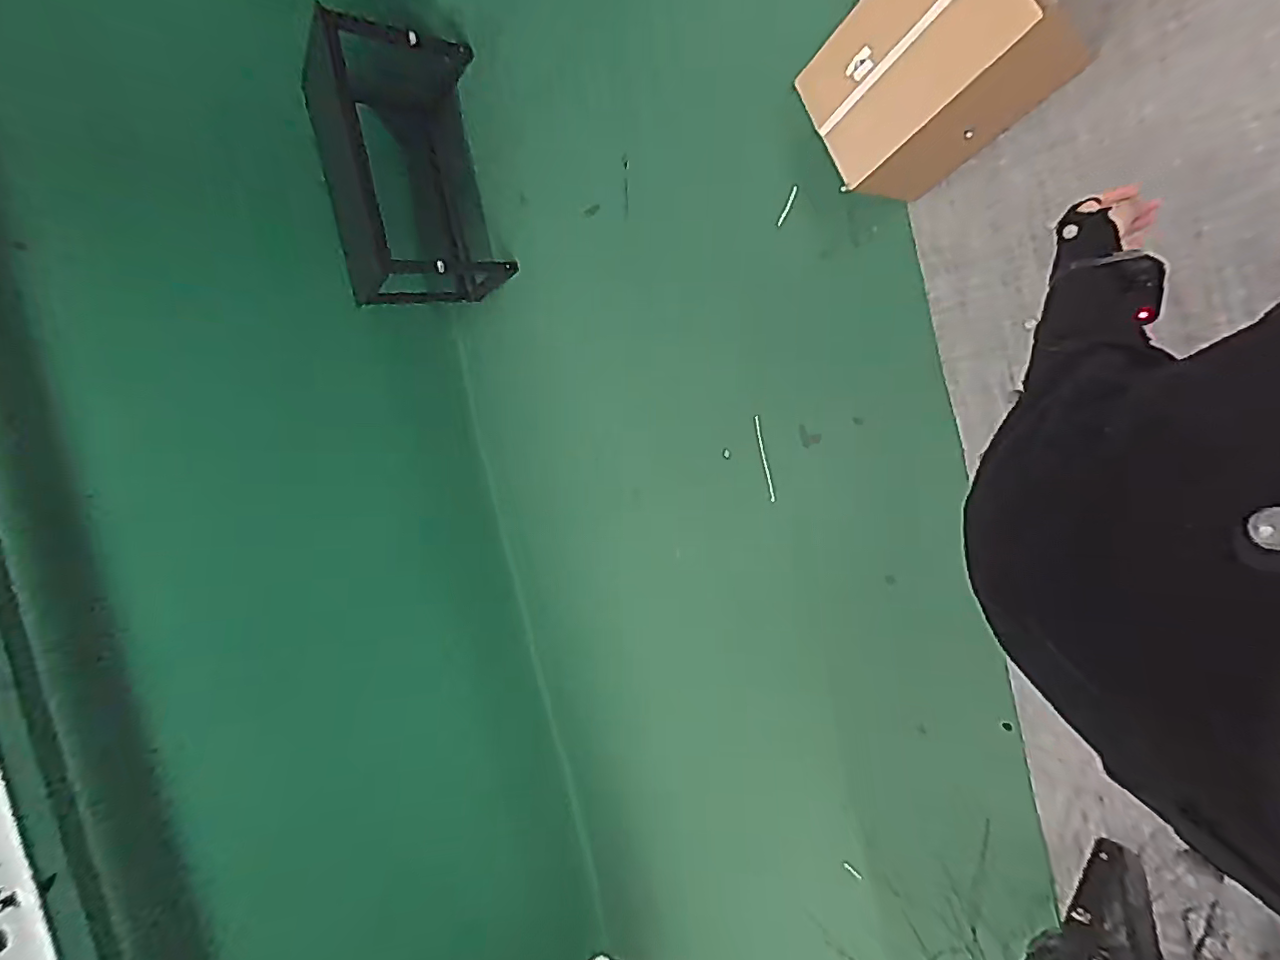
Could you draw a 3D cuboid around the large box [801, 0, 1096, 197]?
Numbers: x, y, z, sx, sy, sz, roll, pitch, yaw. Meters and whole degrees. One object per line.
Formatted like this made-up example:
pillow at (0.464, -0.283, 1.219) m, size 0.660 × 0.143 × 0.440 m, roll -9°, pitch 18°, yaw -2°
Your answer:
large box at (0.647, -0.895, 1.173) m, size 0.408 × 0.320 × 0.320 m, roll -33°, pitch 75°, yaw 53°
